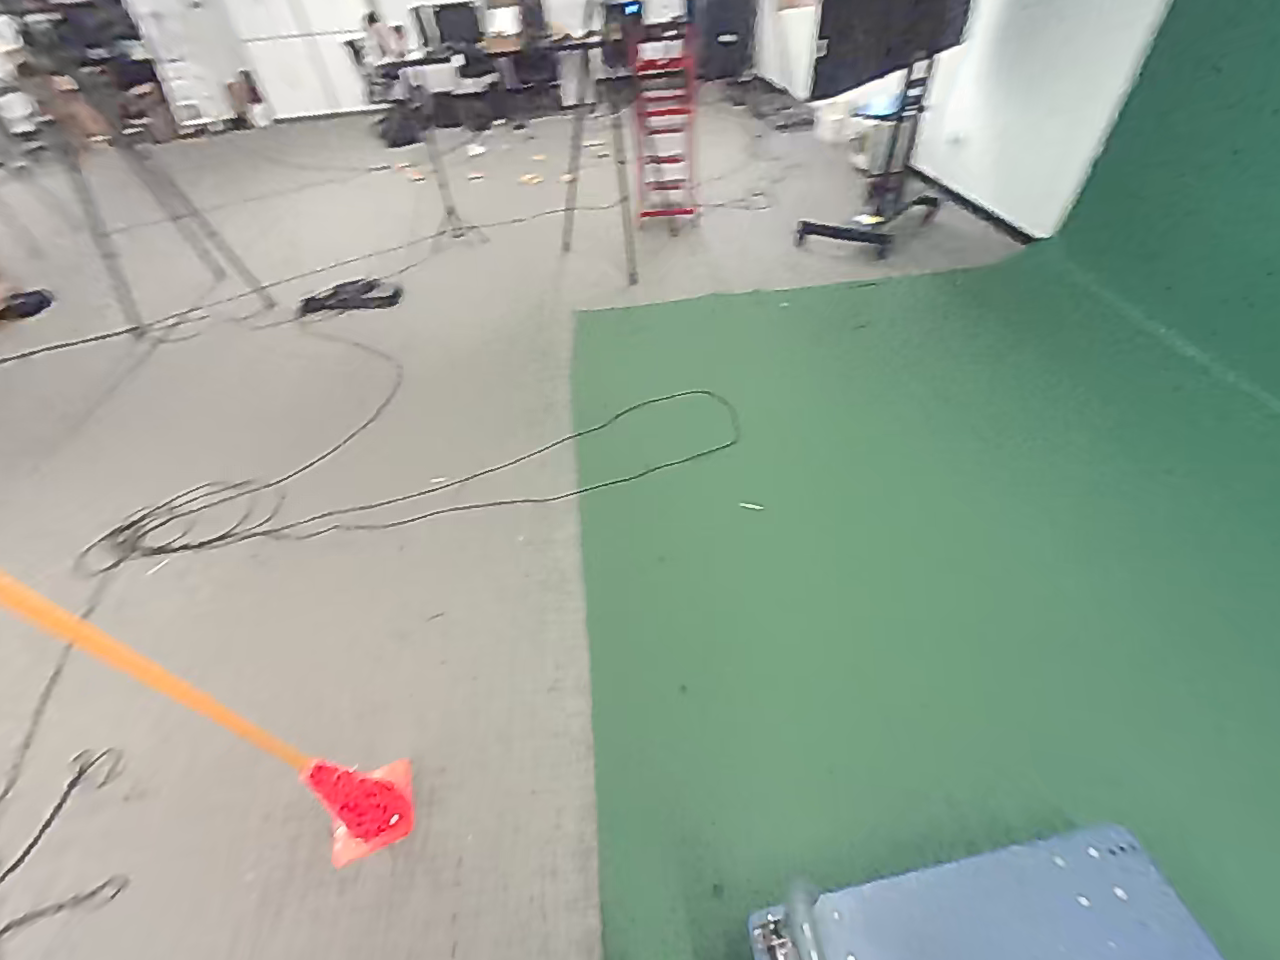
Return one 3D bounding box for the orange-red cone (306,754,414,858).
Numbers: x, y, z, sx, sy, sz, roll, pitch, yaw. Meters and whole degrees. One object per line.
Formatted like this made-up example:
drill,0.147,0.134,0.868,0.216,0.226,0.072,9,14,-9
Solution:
orange-red cone,-0.727,0.762,1.345,0.198,0.360,0.199,-18,45,-12
